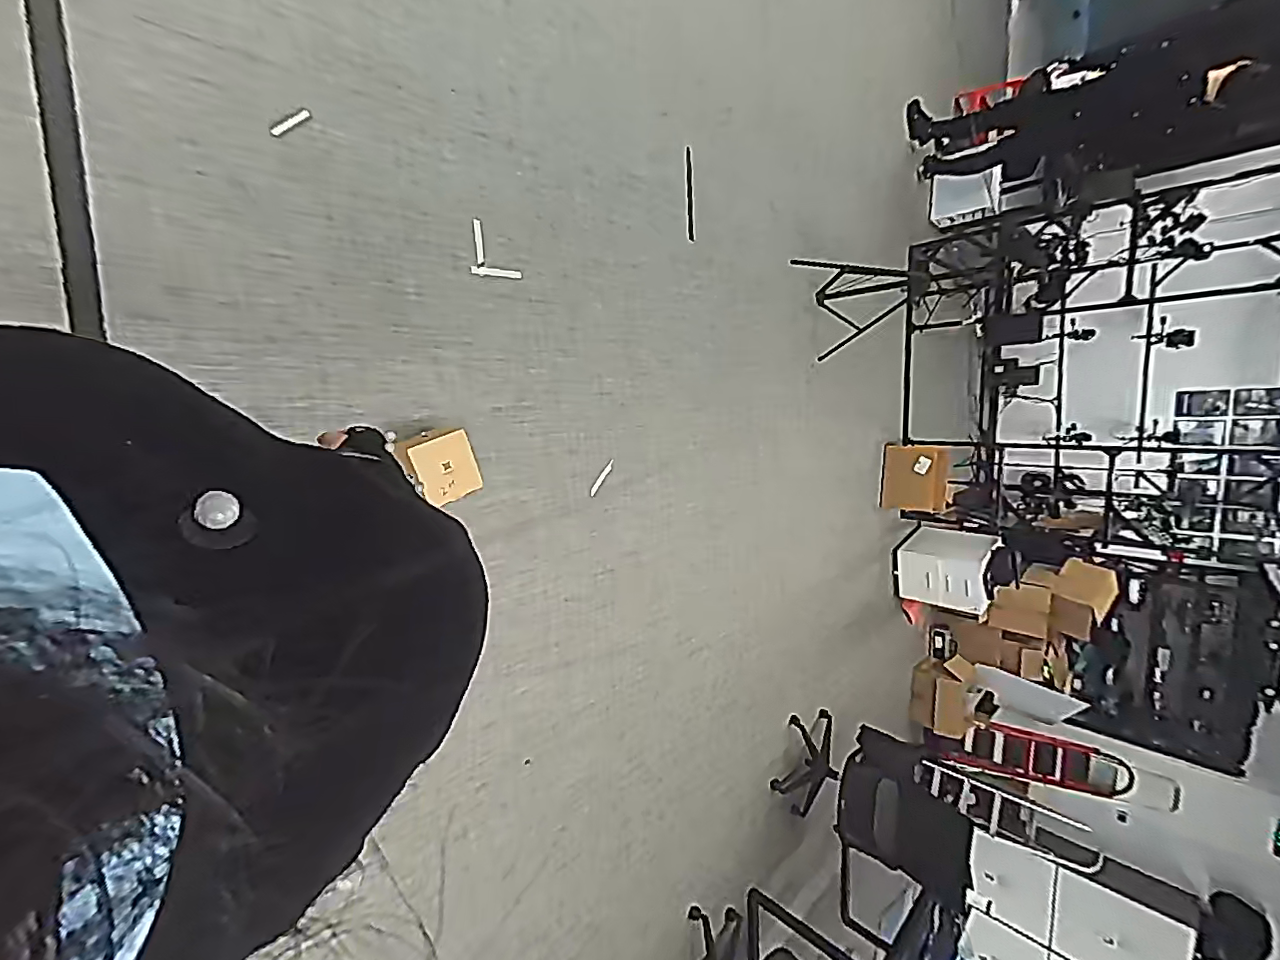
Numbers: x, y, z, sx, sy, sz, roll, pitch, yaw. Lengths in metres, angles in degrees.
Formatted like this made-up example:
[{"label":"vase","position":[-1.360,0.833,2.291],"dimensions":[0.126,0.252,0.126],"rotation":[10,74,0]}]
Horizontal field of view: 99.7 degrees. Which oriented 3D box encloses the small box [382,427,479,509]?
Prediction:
[{"label":"small box","position":[-0.577,-0.037,1.484],"dimensions":[0.168,0.176,0.179],"rotation":[-30,115,-40]}]
